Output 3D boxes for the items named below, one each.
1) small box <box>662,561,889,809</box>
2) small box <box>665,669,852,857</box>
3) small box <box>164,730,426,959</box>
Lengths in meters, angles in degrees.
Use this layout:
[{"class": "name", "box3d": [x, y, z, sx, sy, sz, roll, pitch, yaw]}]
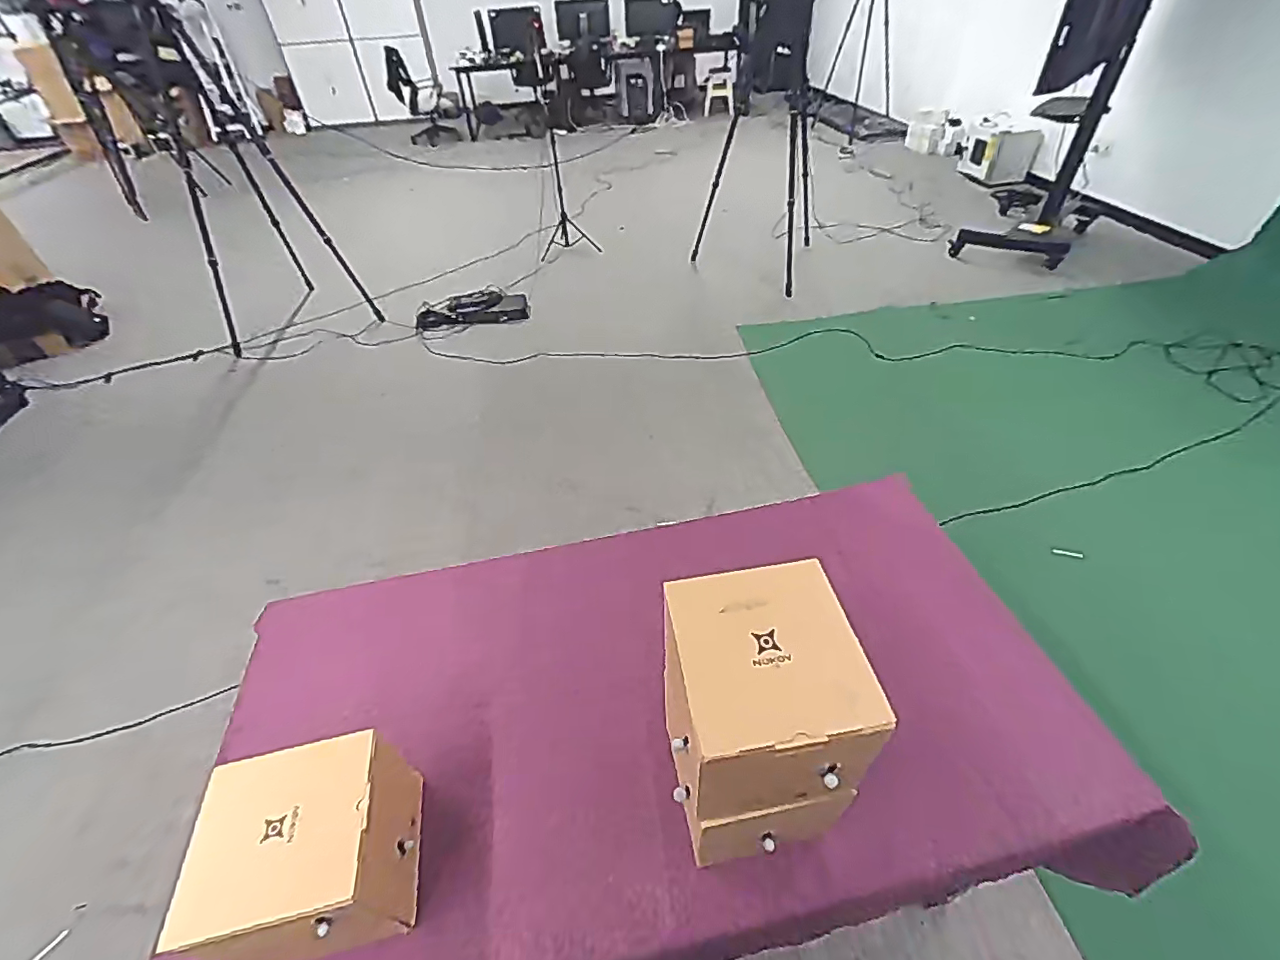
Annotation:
[{"class": "small box", "box3d": [0.119, 0.211, 0.549, 0.168, 0.176, 0.179, -8, 43, -4]}, {"class": "small box", "box3d": [0.130, 0.333, 0.657, 0.168, 0.176, 0.179, -9, 43, -5]}, {"class": "small box", "box3d": [-0.364, 0.419, 0.614, 0.179, 0.176, 0.168, -11, 43, -8]}]
